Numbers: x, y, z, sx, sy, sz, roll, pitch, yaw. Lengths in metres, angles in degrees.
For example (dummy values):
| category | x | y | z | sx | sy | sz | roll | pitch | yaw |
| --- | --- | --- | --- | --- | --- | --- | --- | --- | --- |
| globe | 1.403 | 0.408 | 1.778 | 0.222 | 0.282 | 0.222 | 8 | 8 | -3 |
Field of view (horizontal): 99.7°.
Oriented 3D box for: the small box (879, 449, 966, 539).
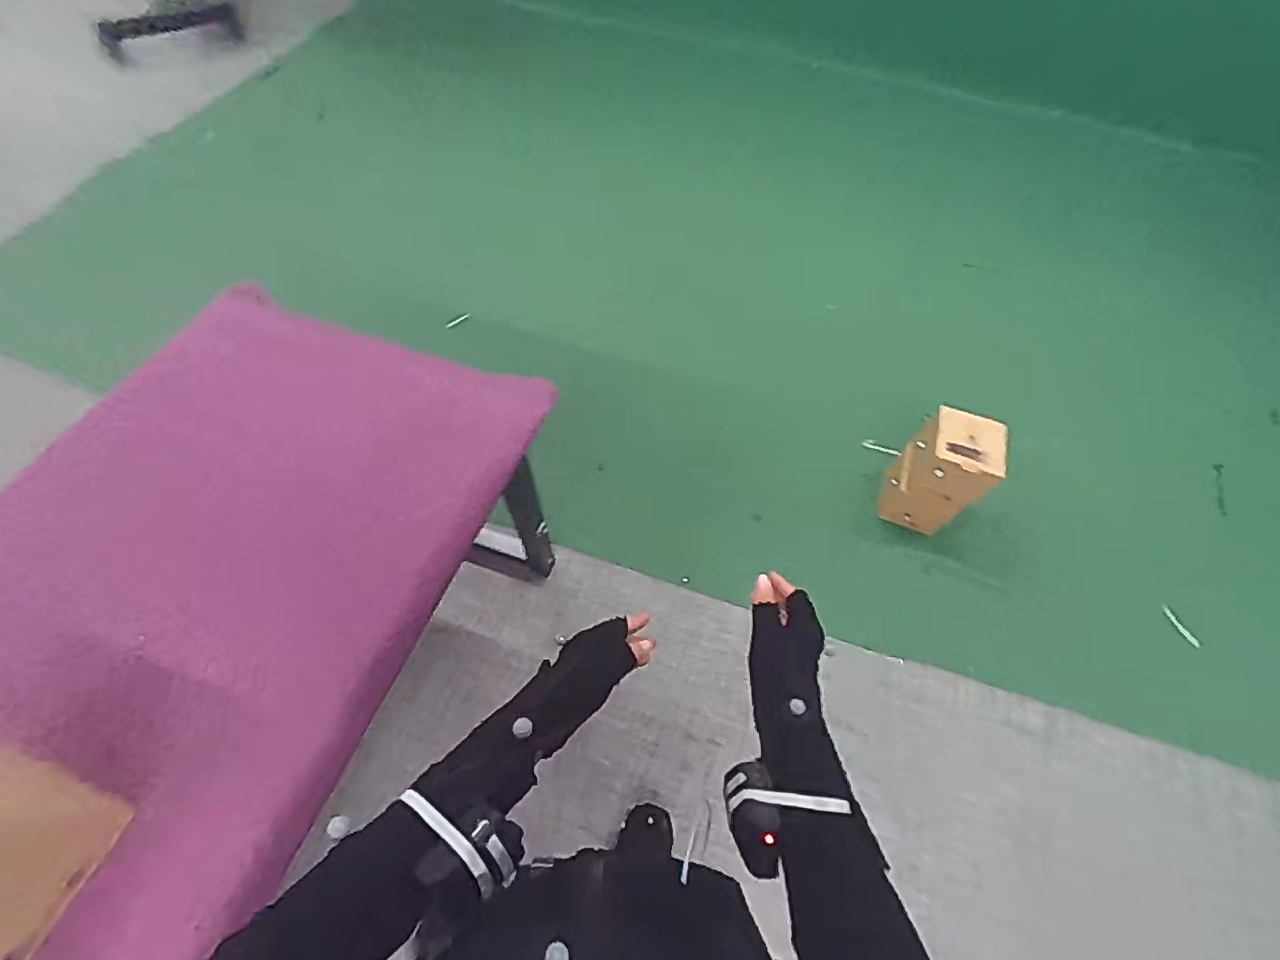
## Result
| category | x | y | z | sx | sy | sz | roll | pitch | yaw |
| --- | --- | --- | --- | --- | --- | --- | --- | --- | --- |
| small box | 0.819 | 0.044 | 1.578 | 0.168 | 0.176 | 0.179 | 20 | 61 | 9 |
